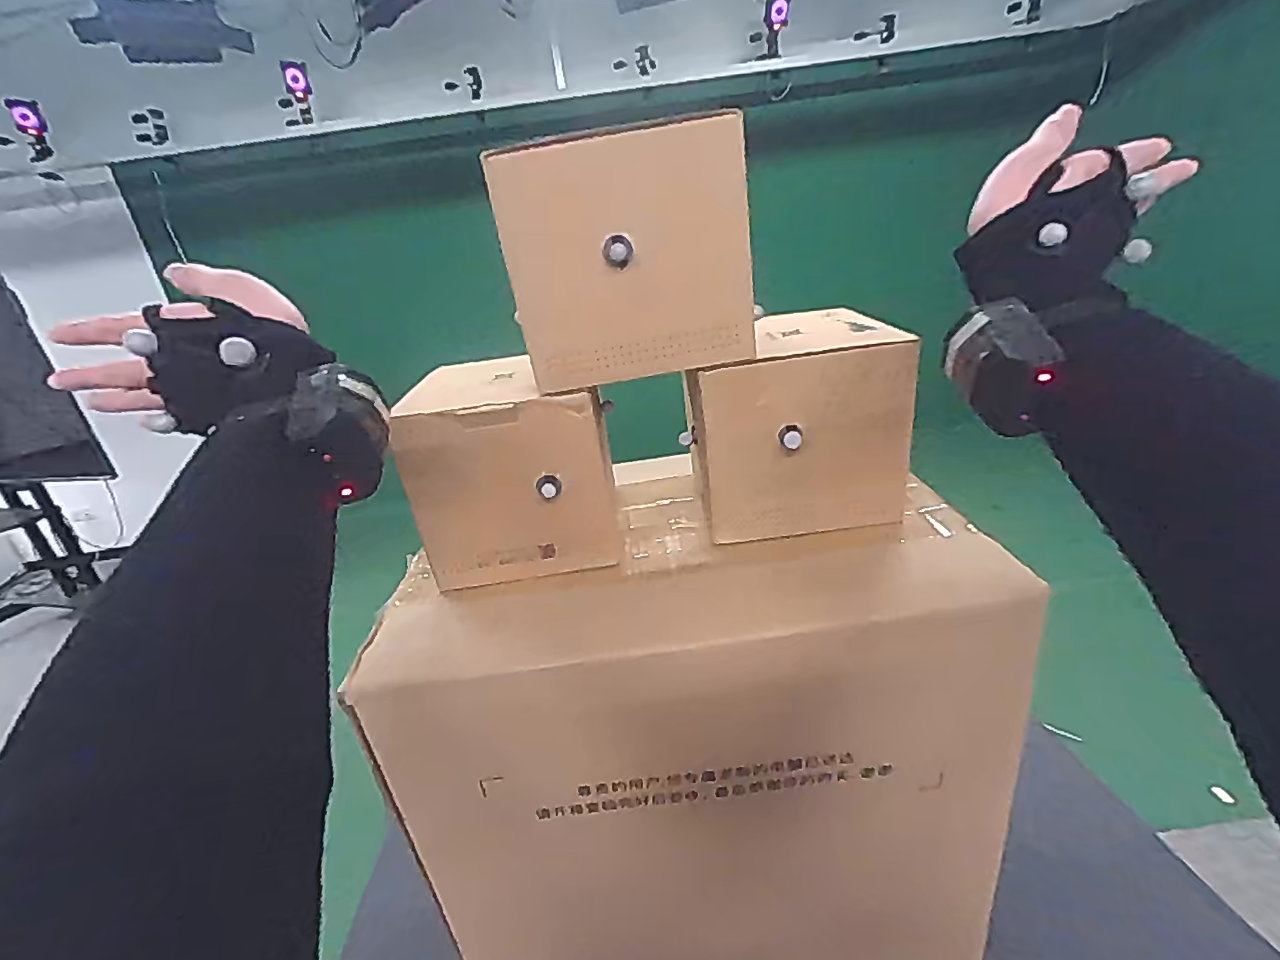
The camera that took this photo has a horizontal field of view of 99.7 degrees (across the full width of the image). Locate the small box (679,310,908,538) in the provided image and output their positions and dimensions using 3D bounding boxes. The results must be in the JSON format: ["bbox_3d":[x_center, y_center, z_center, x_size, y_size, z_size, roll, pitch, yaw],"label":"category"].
[{"bbox_3d":[0.138,-0.057,0.531,0.179,0.176,0.168,-9,26,2],"label":"small box"}]

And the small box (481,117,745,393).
[{"bbox_3d":[-0.013,-0.185,0.461,0.179,0.176,0.168,-10,25,0],"label":"small box"}]

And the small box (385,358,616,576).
[{"bbox_3d":[-0.116,-0.018,0.532,0.168,0.176,0.179,-7,24,-1],"label":"small box"}]
